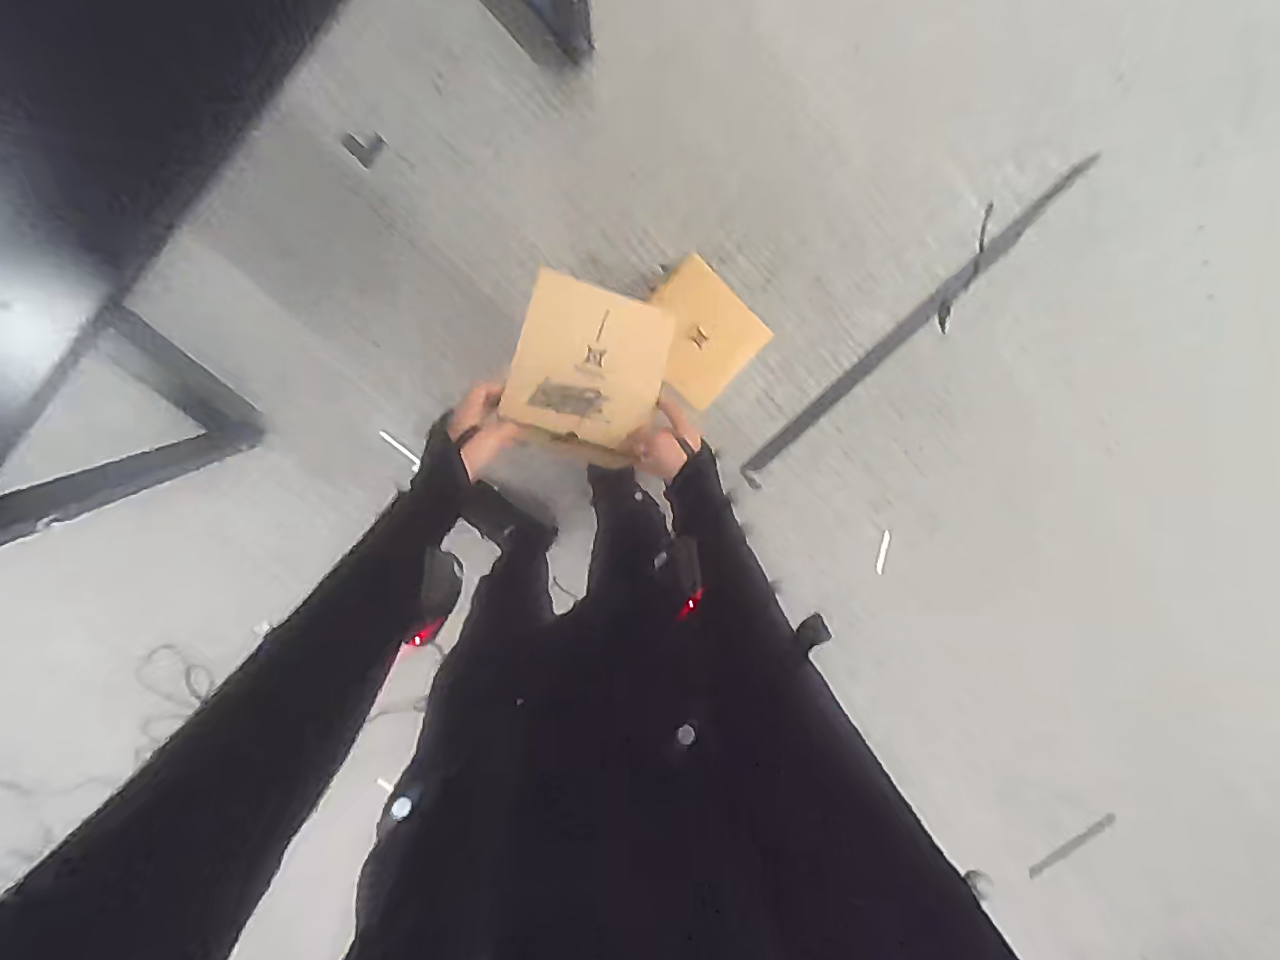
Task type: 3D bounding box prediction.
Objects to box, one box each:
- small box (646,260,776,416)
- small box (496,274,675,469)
[{"bbox_3d":[0.090,-0.236,0.895,0.179,0.176,0.168,40,101,-13],"label":"small box"},{"bbox_3d":[-0.072,-0.118,0.673,0.168,0.176,0.179,15,83,-11],"label":"small box"}]
